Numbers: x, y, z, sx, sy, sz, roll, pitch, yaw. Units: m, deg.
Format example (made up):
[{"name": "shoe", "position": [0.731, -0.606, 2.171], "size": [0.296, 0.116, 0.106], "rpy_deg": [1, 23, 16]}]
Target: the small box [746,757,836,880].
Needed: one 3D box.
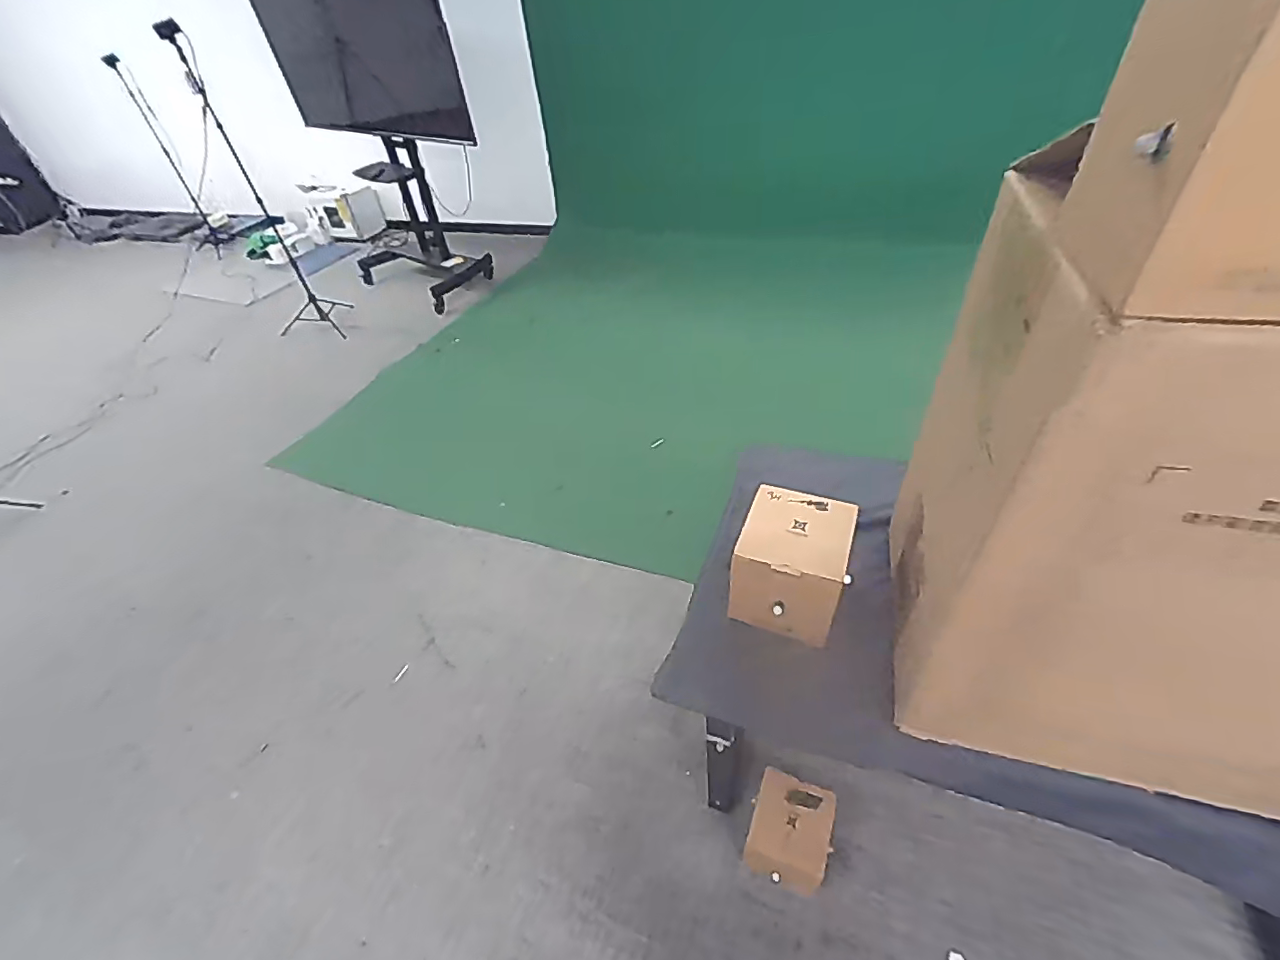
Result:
[{"name": "small box", "position": [0.350, 0.797, 1.274], "size": [0.168, 0.176, 0.179], "rpy_deg": [13, 48, 22]}]
